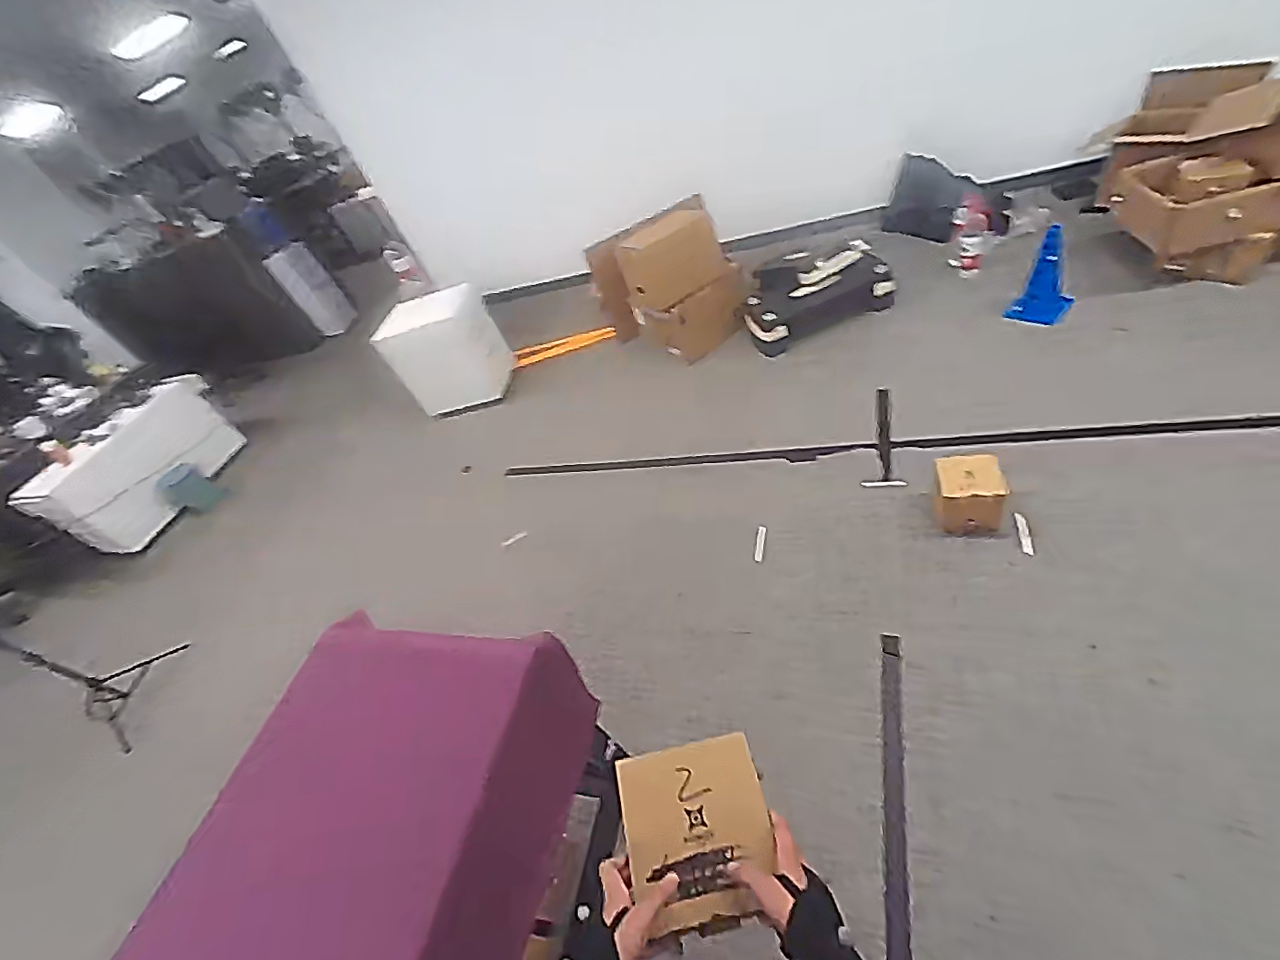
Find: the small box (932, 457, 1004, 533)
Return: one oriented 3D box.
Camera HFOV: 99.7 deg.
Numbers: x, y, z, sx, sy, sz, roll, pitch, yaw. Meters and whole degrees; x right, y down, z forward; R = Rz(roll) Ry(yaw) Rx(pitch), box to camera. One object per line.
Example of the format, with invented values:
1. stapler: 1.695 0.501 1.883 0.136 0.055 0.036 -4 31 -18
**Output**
1. small box: 1.031 0.051 1.714 0.168 0.176 0.179 -5 47 22
